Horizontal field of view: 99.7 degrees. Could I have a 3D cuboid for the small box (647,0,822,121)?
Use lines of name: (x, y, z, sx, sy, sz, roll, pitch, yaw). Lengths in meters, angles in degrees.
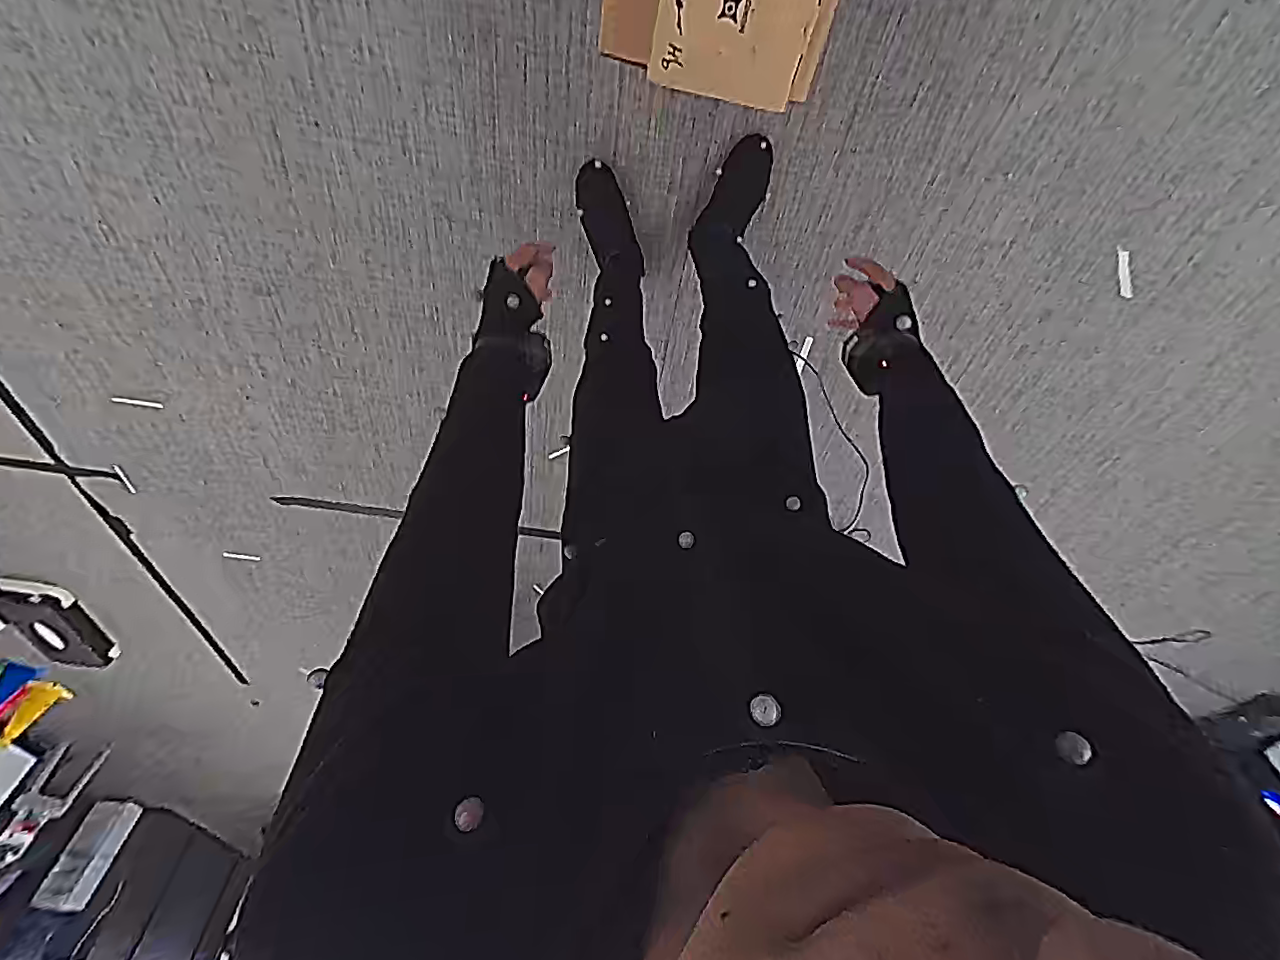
small box: (0.110, -0.573, 0.664, 0.179, 0.176, 0.168, 9, 134, -7)
